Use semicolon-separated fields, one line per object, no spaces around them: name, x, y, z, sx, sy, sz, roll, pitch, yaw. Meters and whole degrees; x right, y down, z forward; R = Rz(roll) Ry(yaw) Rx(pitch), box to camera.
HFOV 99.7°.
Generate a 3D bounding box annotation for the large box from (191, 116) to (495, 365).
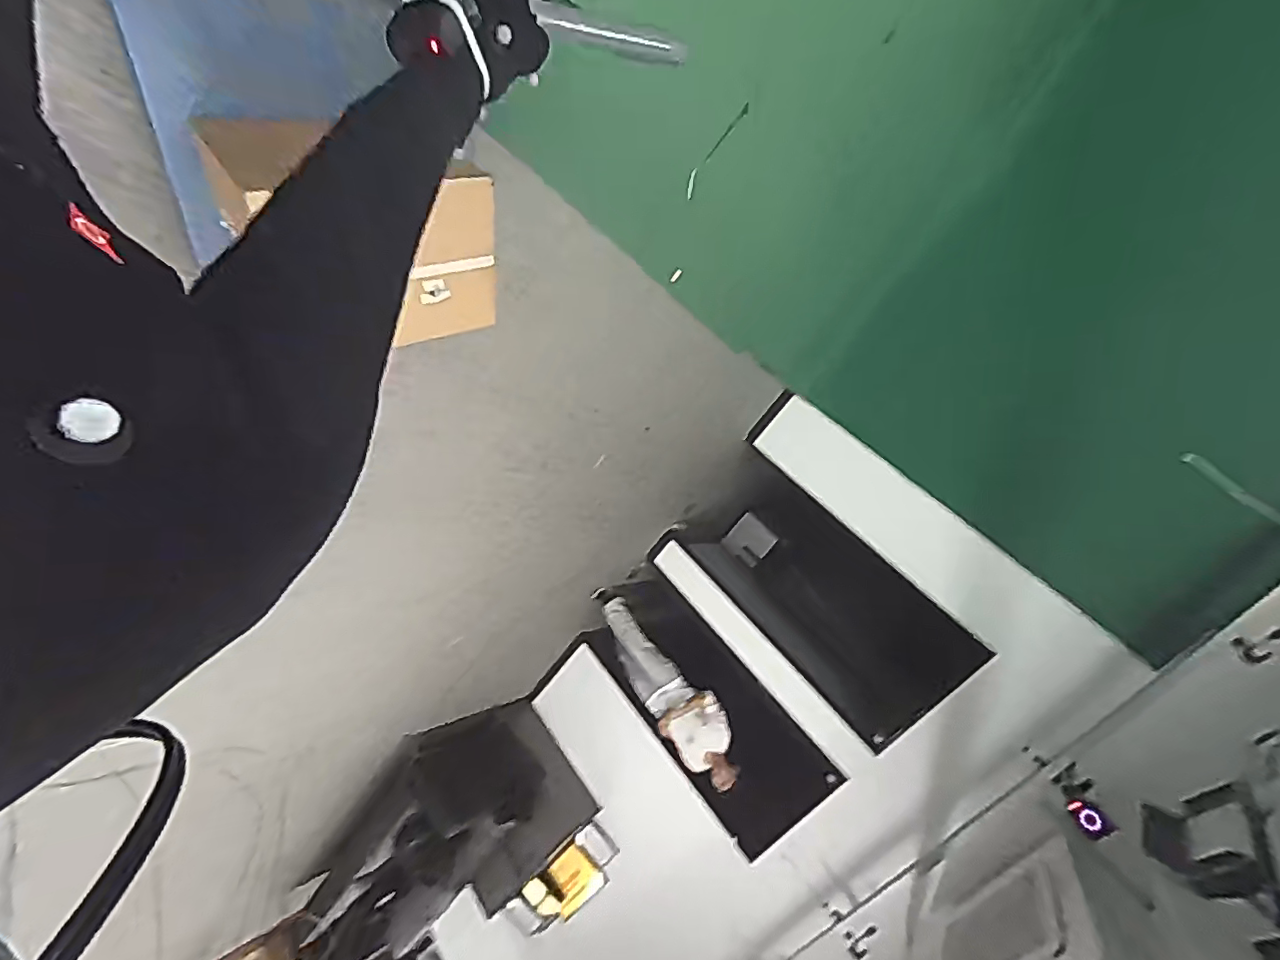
large box;-0.544;-0.485;1.059;0.408;0.320;0.320;-28;150;-33
